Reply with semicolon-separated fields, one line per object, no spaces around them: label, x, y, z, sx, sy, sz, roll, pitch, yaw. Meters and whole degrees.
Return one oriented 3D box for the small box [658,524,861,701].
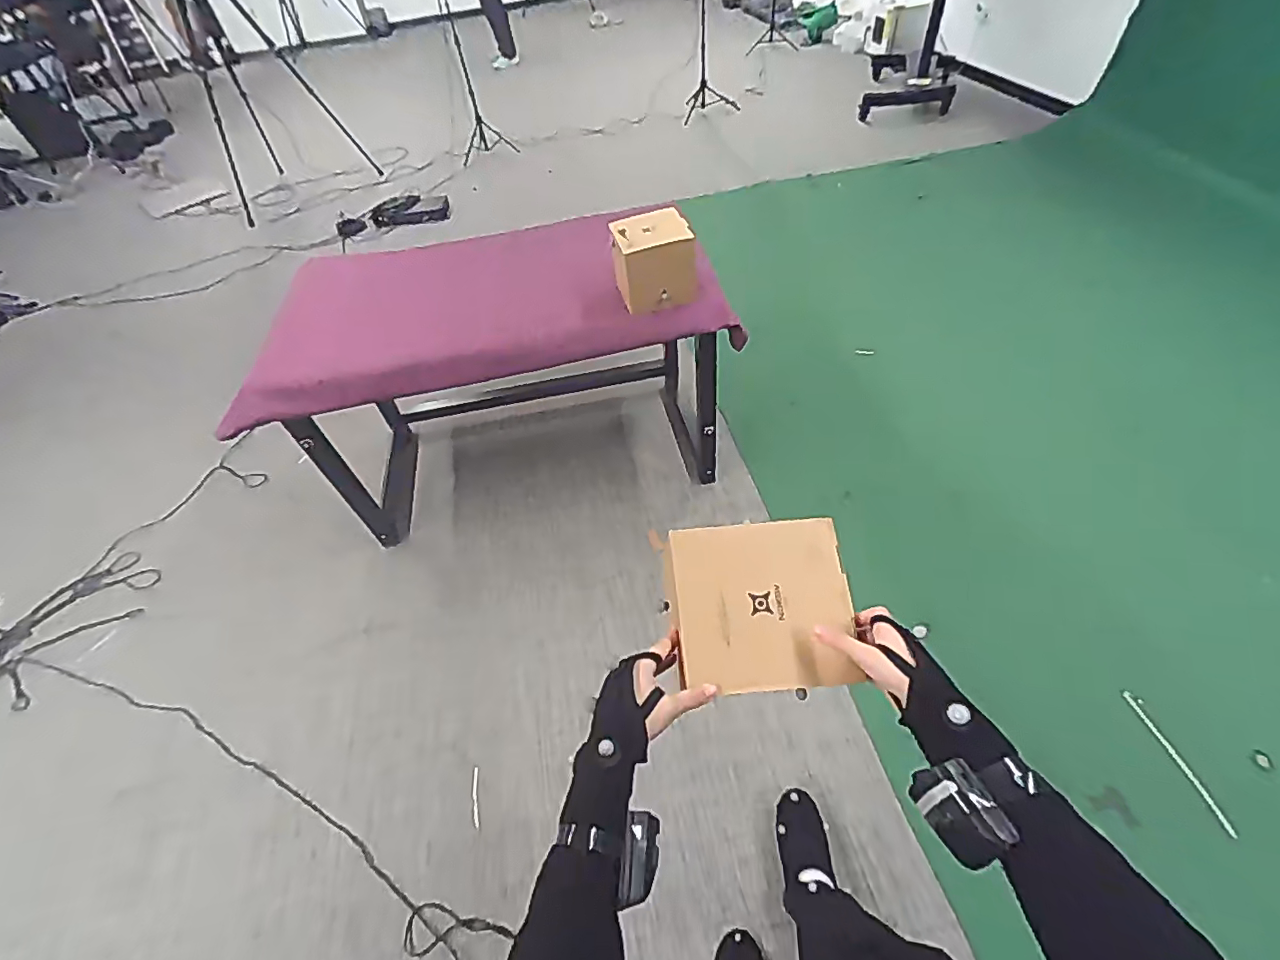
small box;0.118;0.152;0.610;0.179;0.176;0.168;-4;70;-3

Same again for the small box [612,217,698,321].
small box;0.039;-0.527;1.357;0.179;0.176;0.168;-15;50;-5
